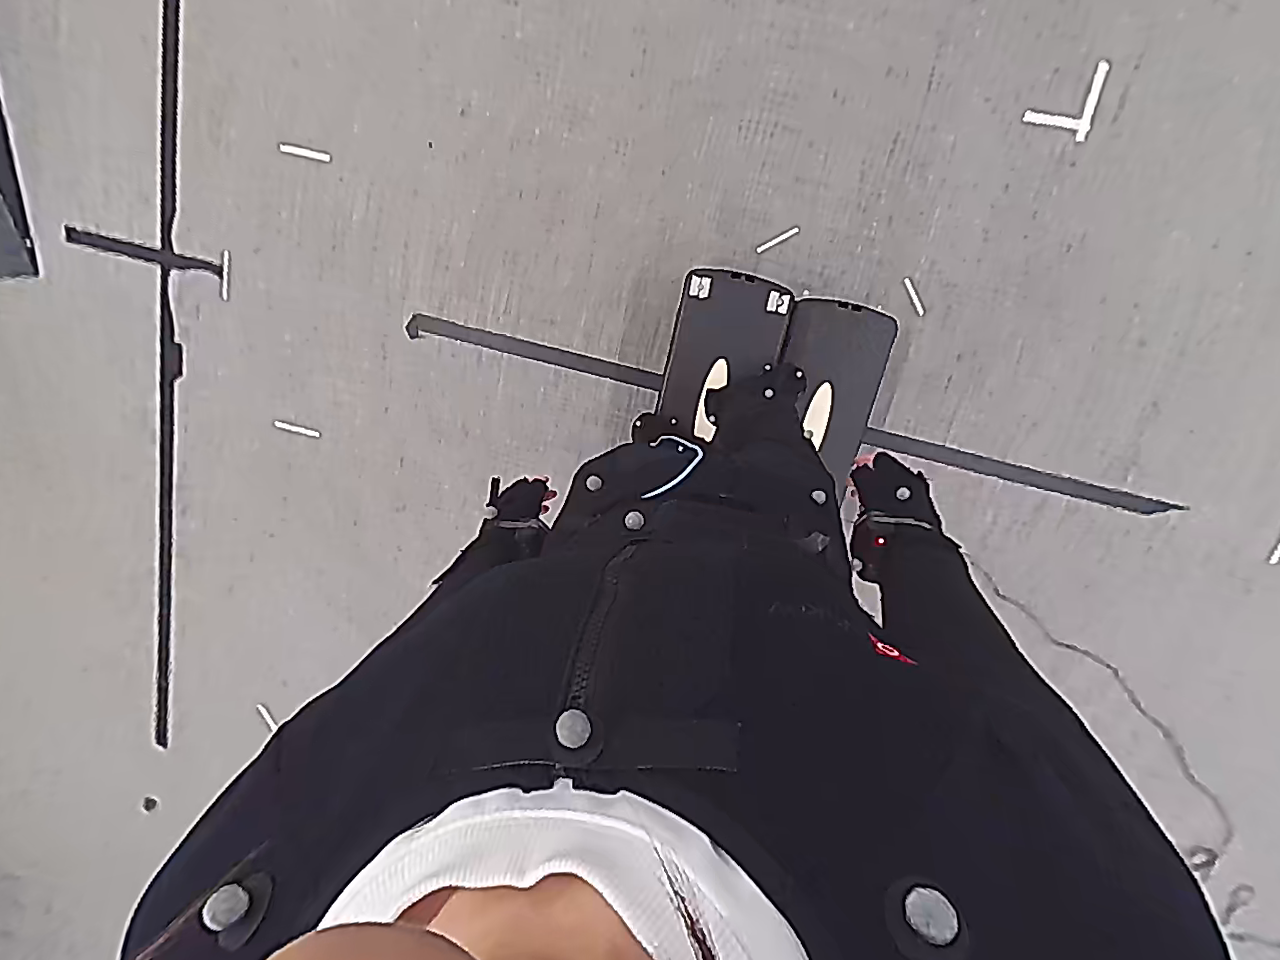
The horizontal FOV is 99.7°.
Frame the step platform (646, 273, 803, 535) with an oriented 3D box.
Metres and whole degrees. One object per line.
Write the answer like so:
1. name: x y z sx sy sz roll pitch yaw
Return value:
1. step platform: 0.216 -0.196 1.474 0.286 0.204 0.684 12 102 3
